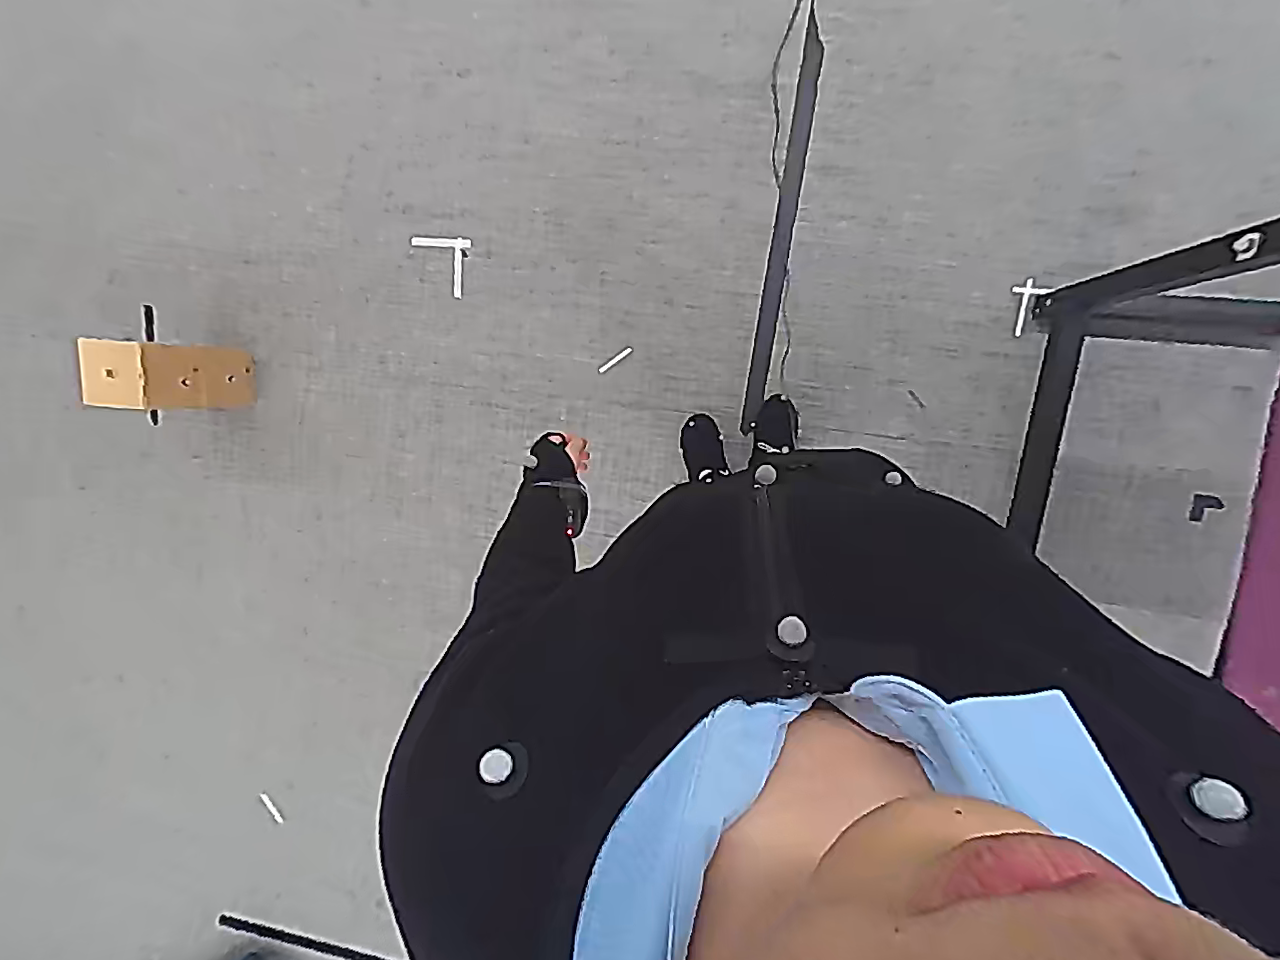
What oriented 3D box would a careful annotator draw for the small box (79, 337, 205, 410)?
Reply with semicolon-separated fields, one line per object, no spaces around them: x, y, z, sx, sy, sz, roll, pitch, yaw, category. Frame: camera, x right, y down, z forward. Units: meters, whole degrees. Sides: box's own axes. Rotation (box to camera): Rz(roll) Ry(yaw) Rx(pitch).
-1.284;-0.272;1.403;0.179;0.176;0.168;5;100;6;small box

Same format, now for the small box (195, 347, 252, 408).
-1.260;-0.298;1.562;0.179;0.176;0.168;4;99;8;small box
